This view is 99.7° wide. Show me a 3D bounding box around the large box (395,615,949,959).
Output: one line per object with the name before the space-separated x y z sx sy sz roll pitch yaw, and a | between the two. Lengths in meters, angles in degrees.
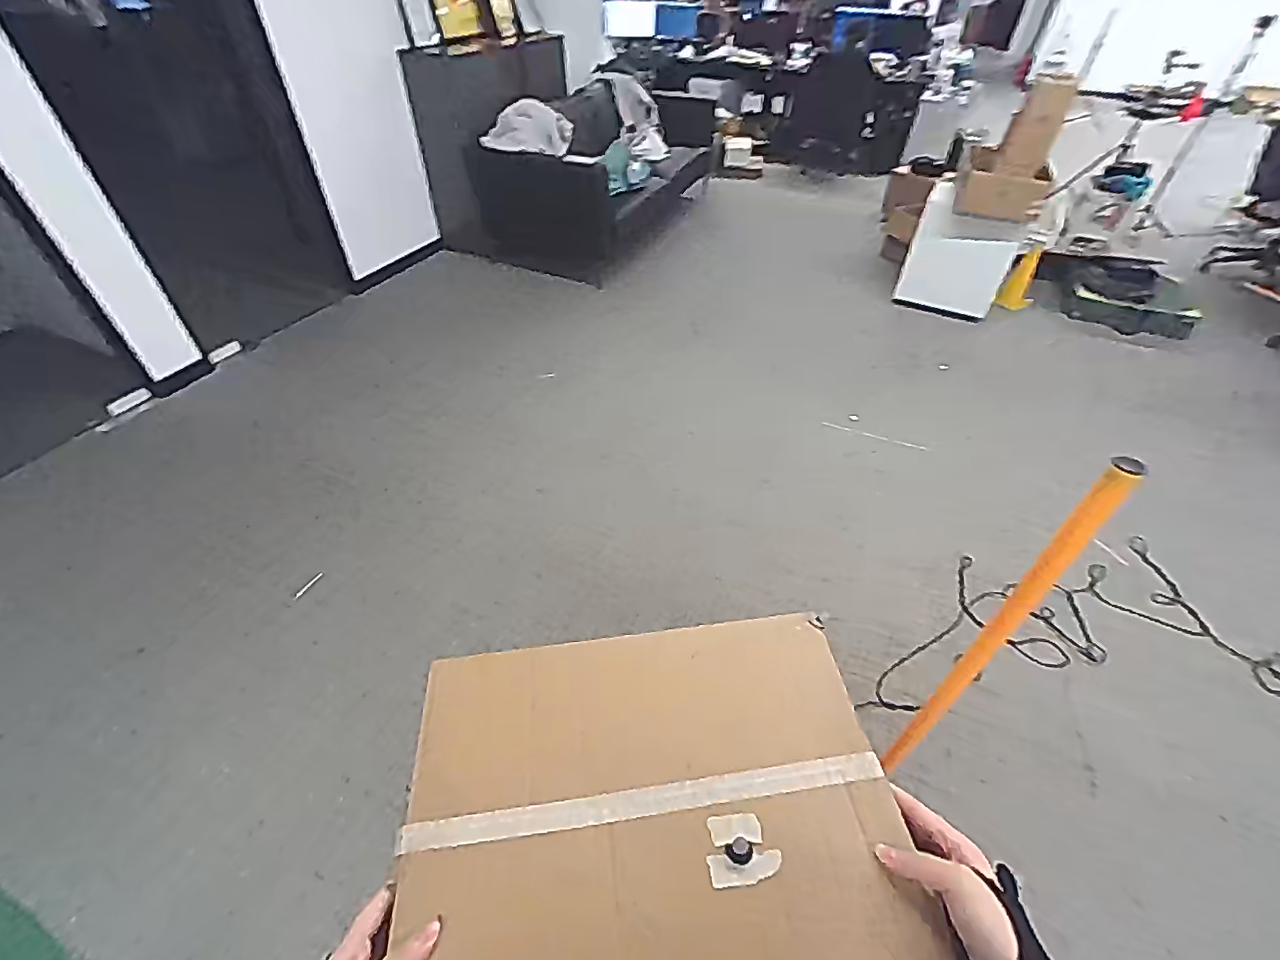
large box | 0.005 0.382 0.568 0.408 0.320 0.320 -6 45 -6
